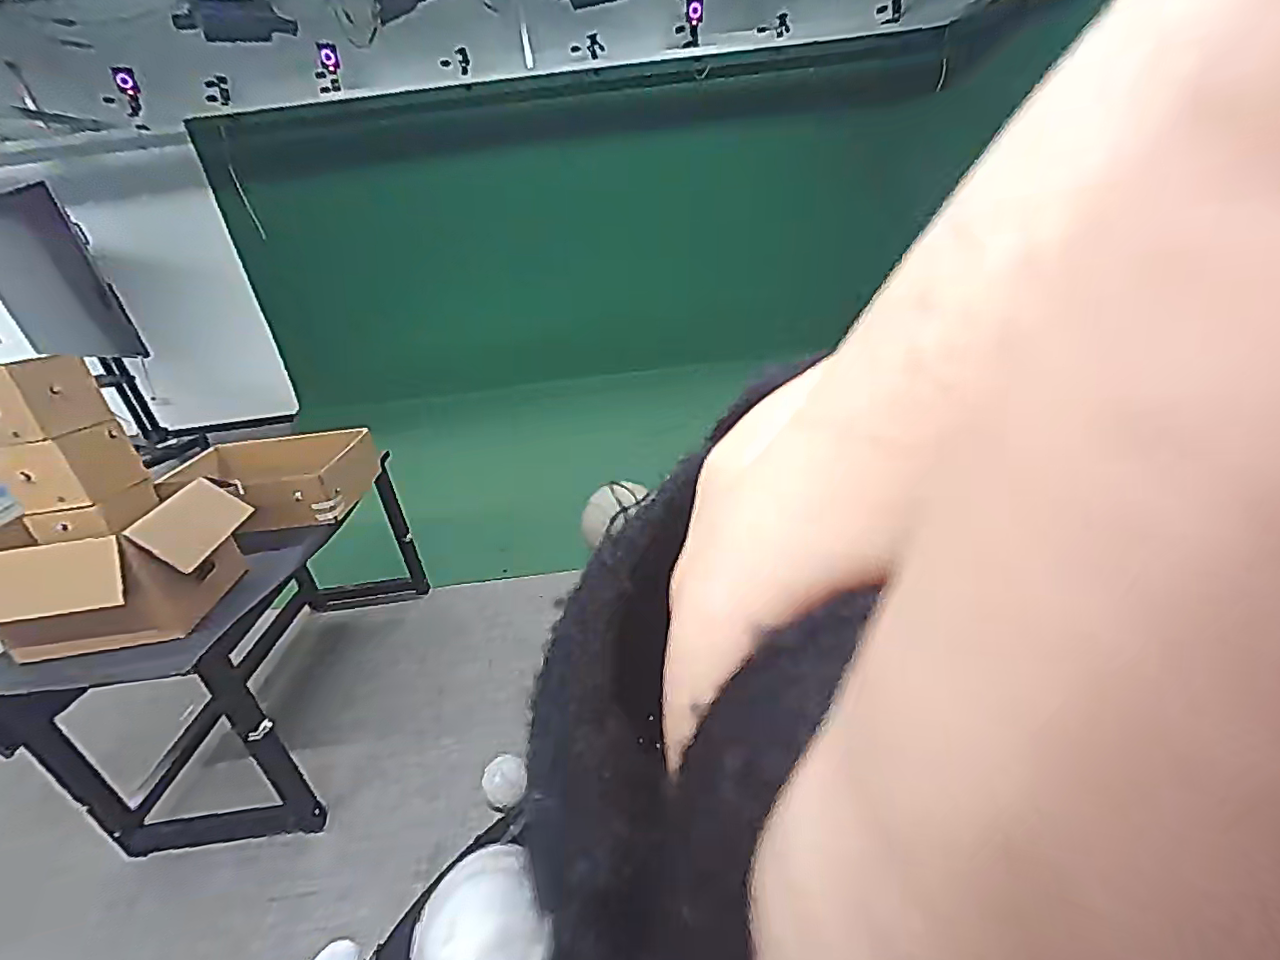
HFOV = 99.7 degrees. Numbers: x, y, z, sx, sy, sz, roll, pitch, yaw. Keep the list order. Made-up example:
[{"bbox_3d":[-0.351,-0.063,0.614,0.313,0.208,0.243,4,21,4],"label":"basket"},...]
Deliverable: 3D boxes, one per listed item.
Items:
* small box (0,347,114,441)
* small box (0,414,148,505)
[{"bbox_3d":[-1.384,-0.194,1.238,0.168,0.176,0.179,-8,23,2],"label":"small box"},{"bbox_3d":[-1.359,-0.045,1.303,0.168,0.176,0.179,-8,23,1],"label":"small box"}]
